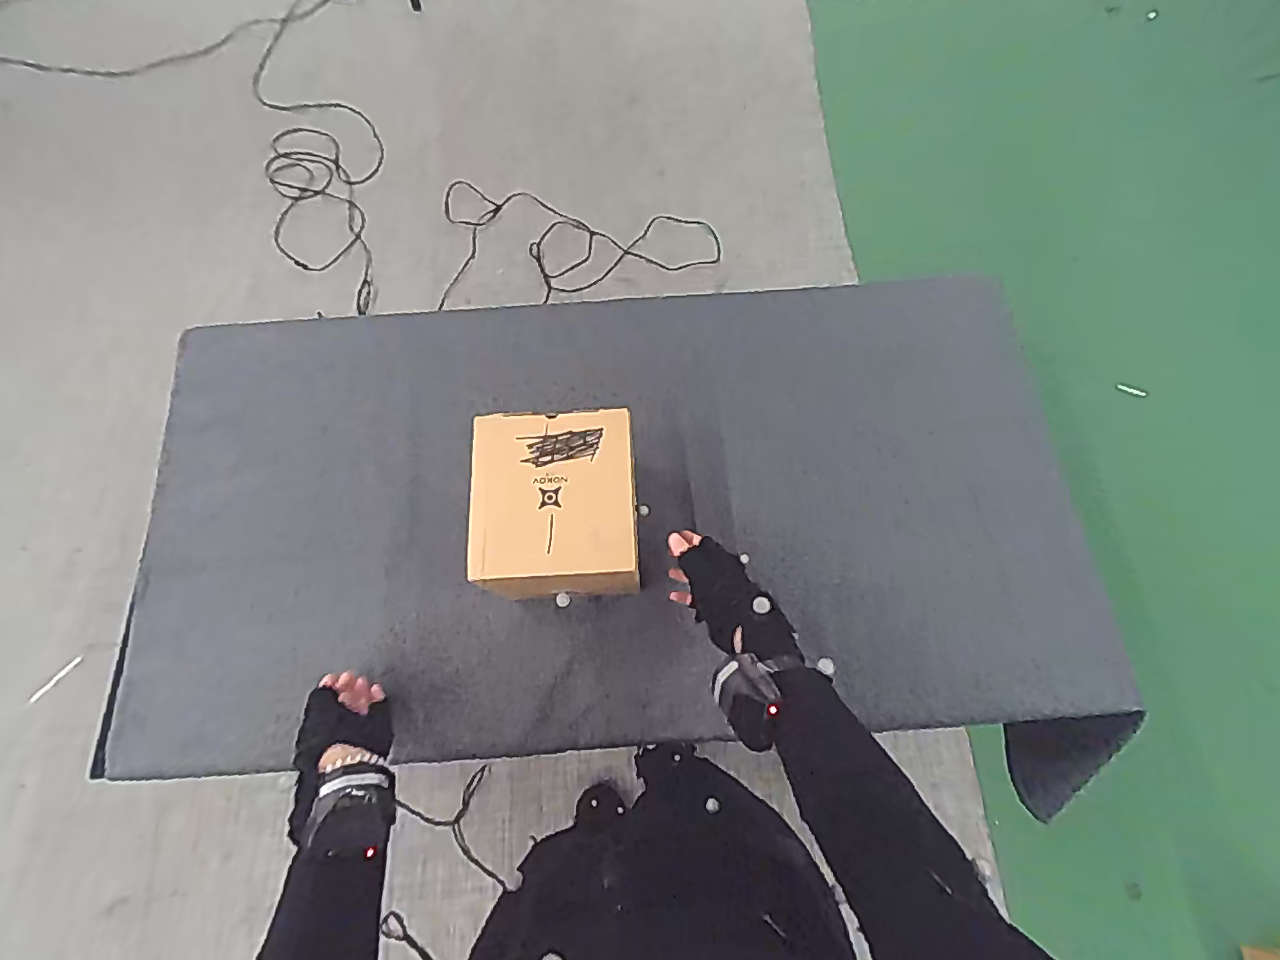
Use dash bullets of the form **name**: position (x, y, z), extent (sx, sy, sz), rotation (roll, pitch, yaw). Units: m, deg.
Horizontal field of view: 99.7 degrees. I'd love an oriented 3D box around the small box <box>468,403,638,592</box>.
- **small box**: position (-0.087, 0.028, 0.625), extent (0.168, 0.176, 0.179), rotation (-3, 71, 1)
